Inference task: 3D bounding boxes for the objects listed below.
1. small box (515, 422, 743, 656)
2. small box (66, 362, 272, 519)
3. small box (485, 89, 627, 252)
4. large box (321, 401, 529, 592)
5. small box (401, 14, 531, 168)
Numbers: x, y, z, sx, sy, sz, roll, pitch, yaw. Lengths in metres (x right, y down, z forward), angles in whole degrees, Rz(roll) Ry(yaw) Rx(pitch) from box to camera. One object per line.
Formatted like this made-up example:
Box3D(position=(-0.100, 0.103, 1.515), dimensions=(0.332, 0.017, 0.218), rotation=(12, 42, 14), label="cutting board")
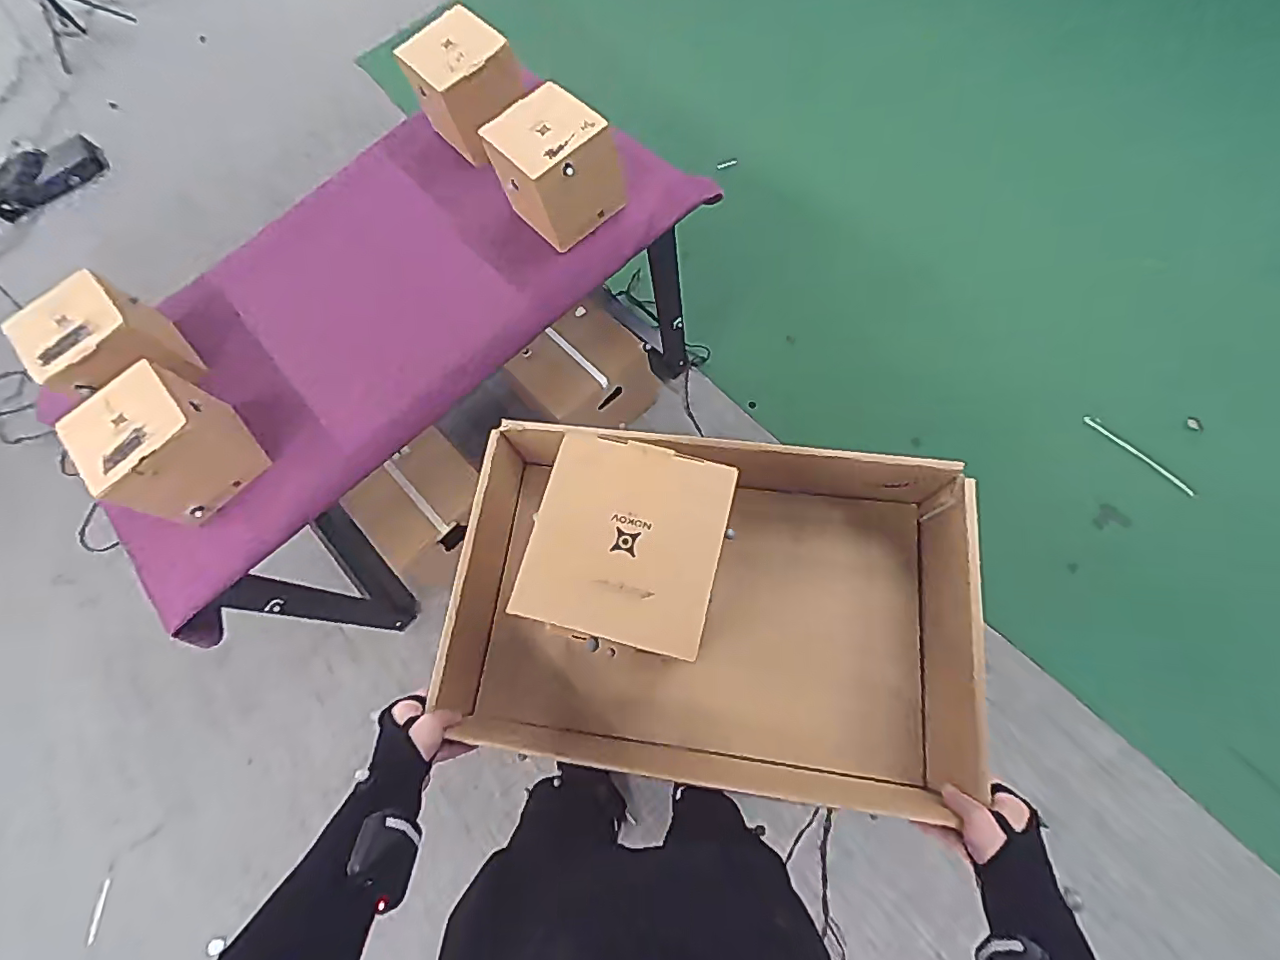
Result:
Box3D(position=(-0.005, 0.069, 0.550), dimensions=(0.168, 0.176, 0.179), rotation=(15, 73, 7), label="small box")
Box3D(position=(-0.767, -0.054, 0.898), dimensions=(0.168, 0.176, 0.179), rotation=(-44, 69, -9), label="small box")
Box3D(position=(-0.147, -0.563, 1.000), dimensions=(0.168, 0.176, 0.179), rotation=(-41, 68, -6), label="small box")
Box3D(position=(-0.593, 0.058, 1.545), dimensions=(0.320, 0.320, 0.408), rotation=(-44, 69, -10), label="large box")
Box3D(position=(-0.341, -0.787, 1.107), dimensions=(0.168, 0.176, 0.179), rotation=(-41, 71, -6), label="small box")
